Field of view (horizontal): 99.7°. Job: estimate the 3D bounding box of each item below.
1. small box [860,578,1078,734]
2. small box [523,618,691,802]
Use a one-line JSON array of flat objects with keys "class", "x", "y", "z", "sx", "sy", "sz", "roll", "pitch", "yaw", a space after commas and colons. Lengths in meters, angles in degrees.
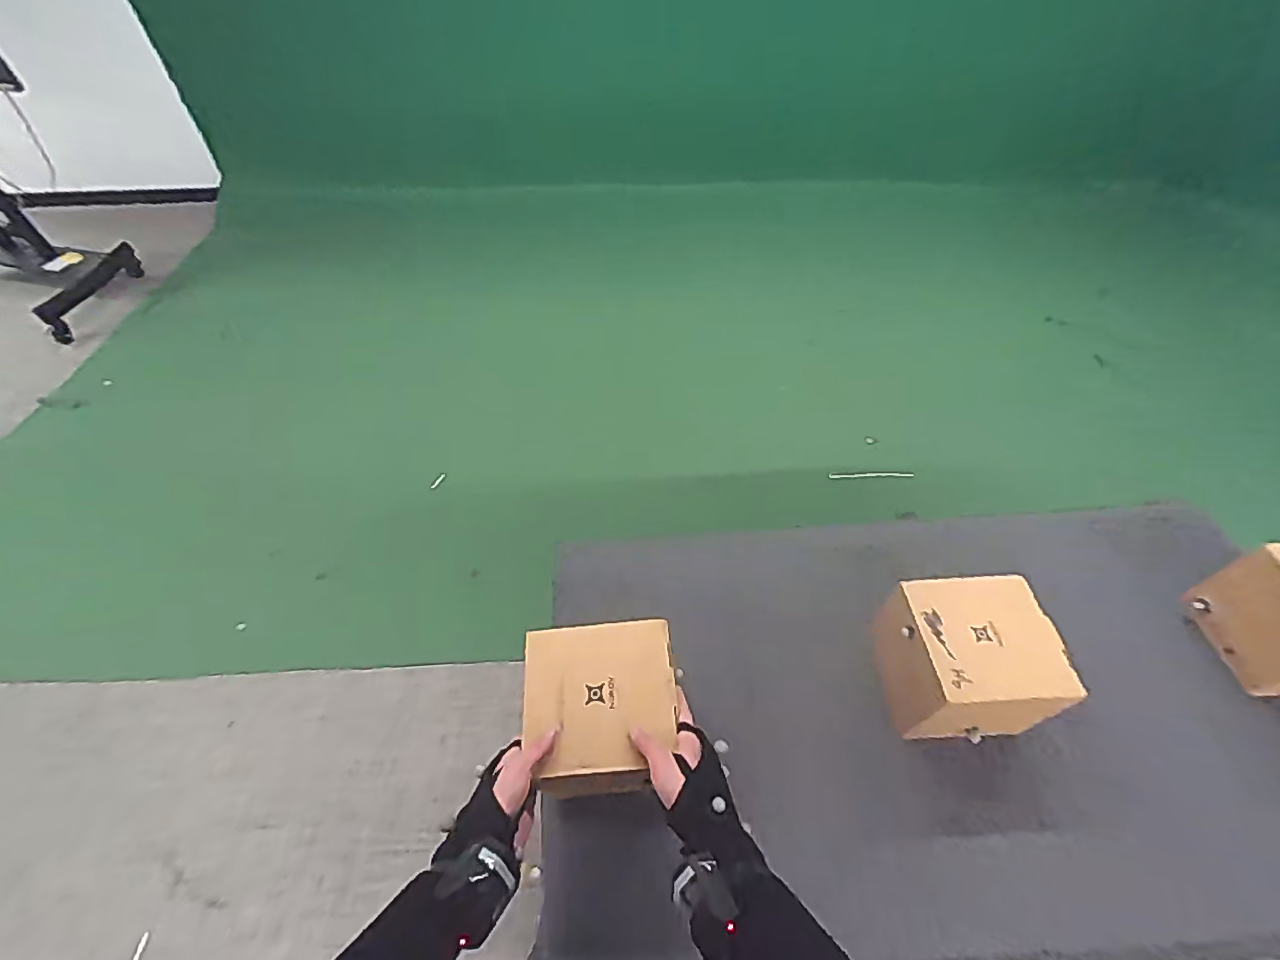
[{"class": "small box", "x": 0.447, "y": 0.252, "z": 0.770, "sx": 0.179, "sy": 0.176, "sz": 0.168, "roll": -1, "pitch": 50, "yaw": -5}, {"class": "small box", "x": -0.038, "y": 0.284, "z": 0.662, "sx": 0.179, "sy": 0.176, "sz": 0.168, "roll": -6, "pitch": 53, "yaw": -2}]
